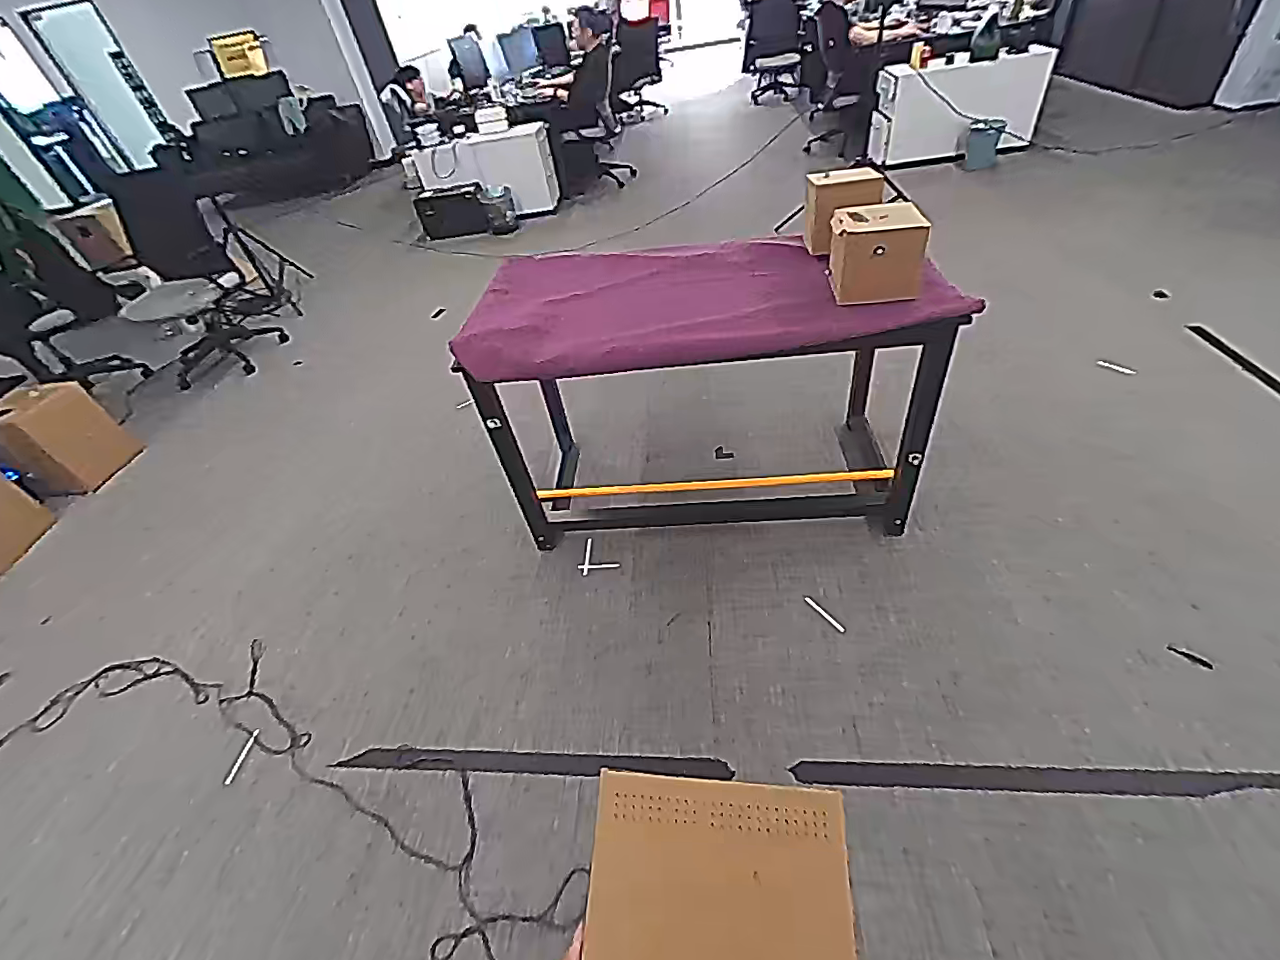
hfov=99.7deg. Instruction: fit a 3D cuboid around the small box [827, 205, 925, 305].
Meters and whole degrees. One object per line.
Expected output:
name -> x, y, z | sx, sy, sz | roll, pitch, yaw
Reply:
small box -> 0.544, -0.527, 1.276 | 0.179, 0.176, 0.168 | -2, 42, 10
